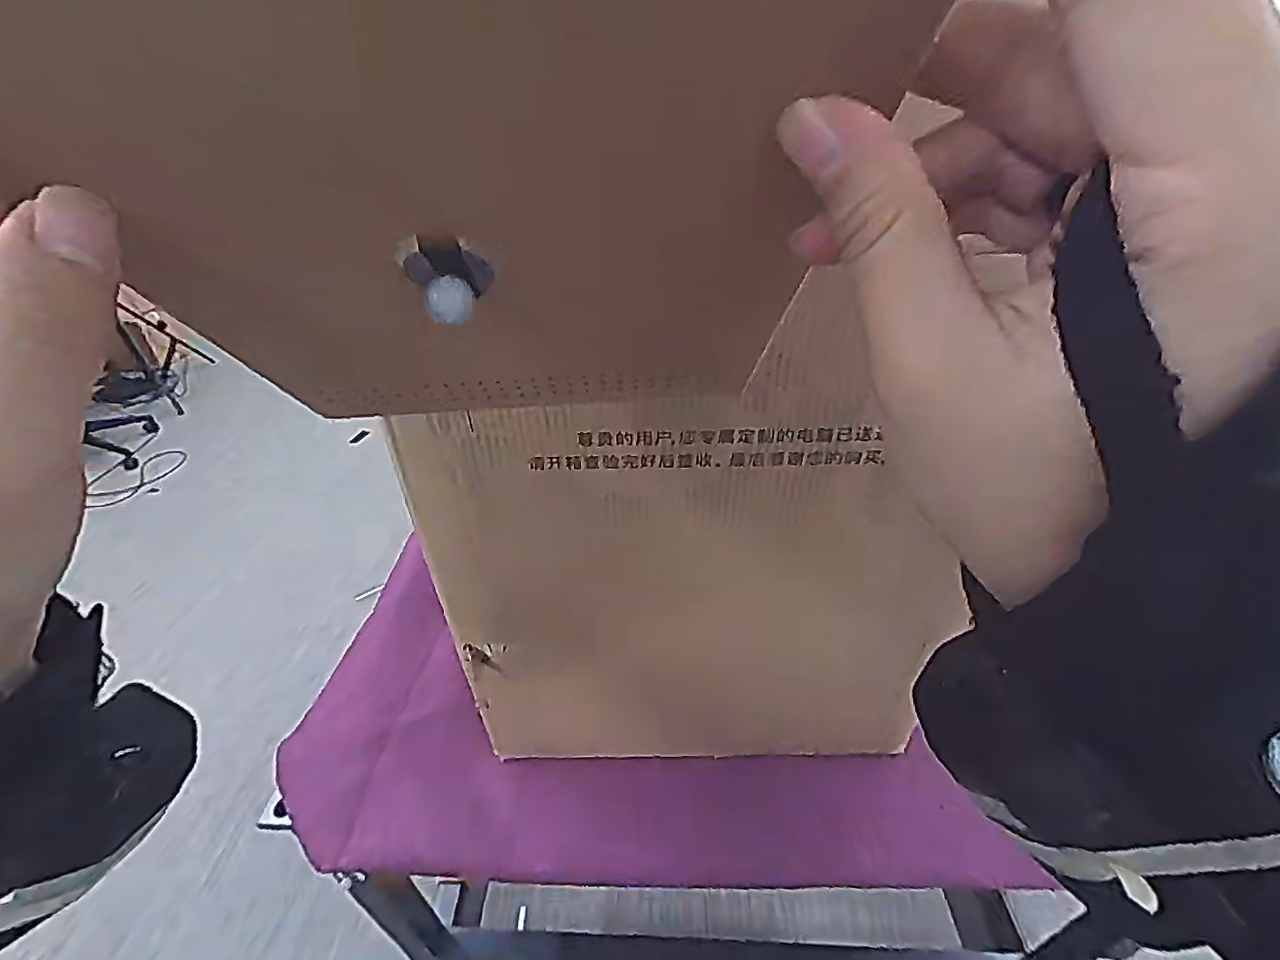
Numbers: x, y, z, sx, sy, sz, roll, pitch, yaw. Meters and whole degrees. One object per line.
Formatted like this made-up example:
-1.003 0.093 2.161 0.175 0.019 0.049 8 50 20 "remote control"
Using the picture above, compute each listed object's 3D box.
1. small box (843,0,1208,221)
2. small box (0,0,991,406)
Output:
0.213 -0.273 0.349 0.179 0.176 0.168 -1 37 2 "small box"
-0.038 -0.131 0.164 0.179 0.176 0.168 -4 75 -2 "small box"
